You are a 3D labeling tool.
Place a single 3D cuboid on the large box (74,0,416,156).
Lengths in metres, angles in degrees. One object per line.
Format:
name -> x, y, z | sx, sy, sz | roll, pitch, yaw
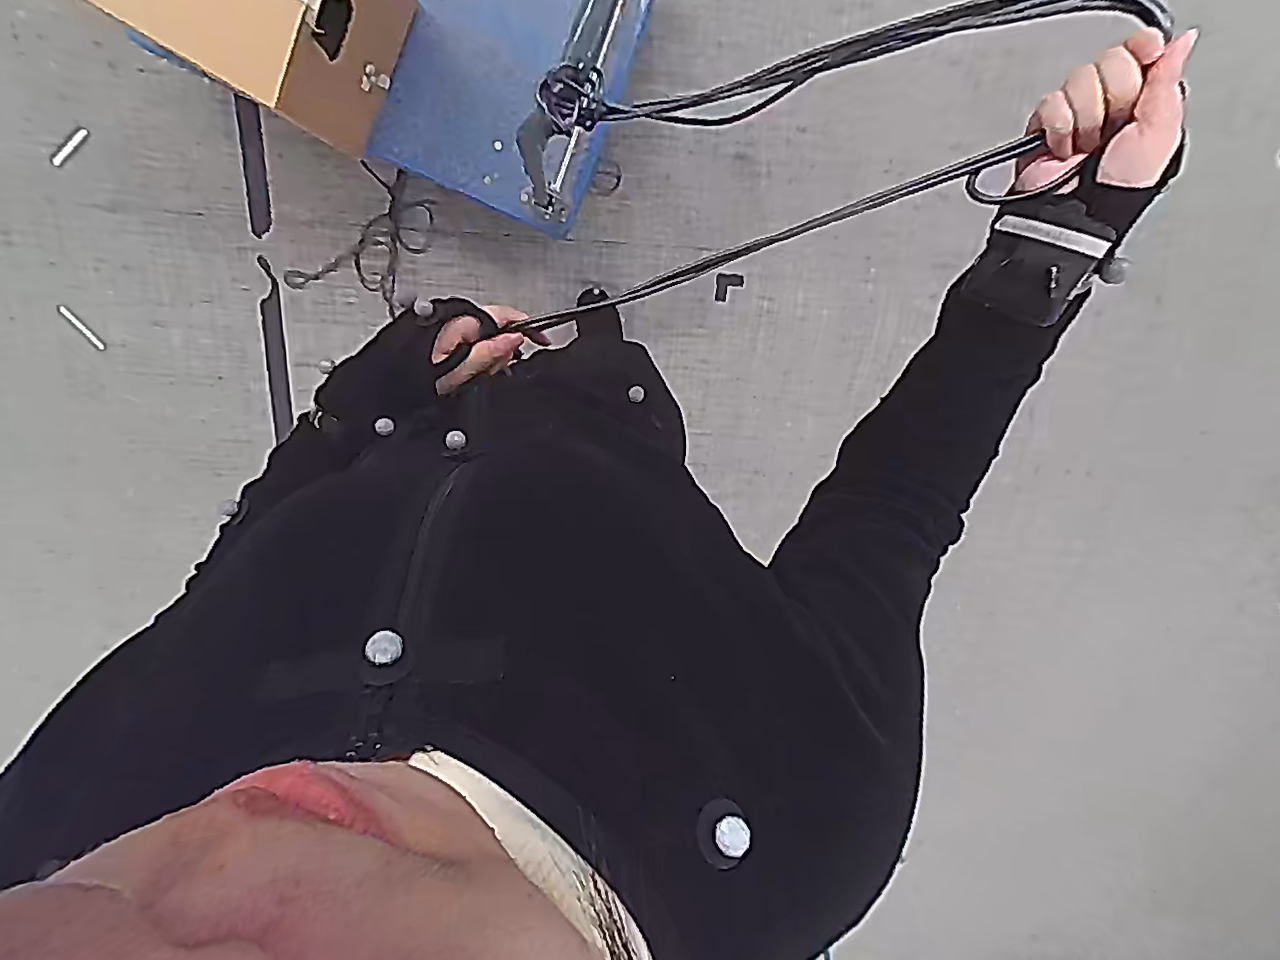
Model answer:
large box -> -0.642, -0.802, 0.857 | 0.408, 0.320, 0.320 | 27, 103, -12
